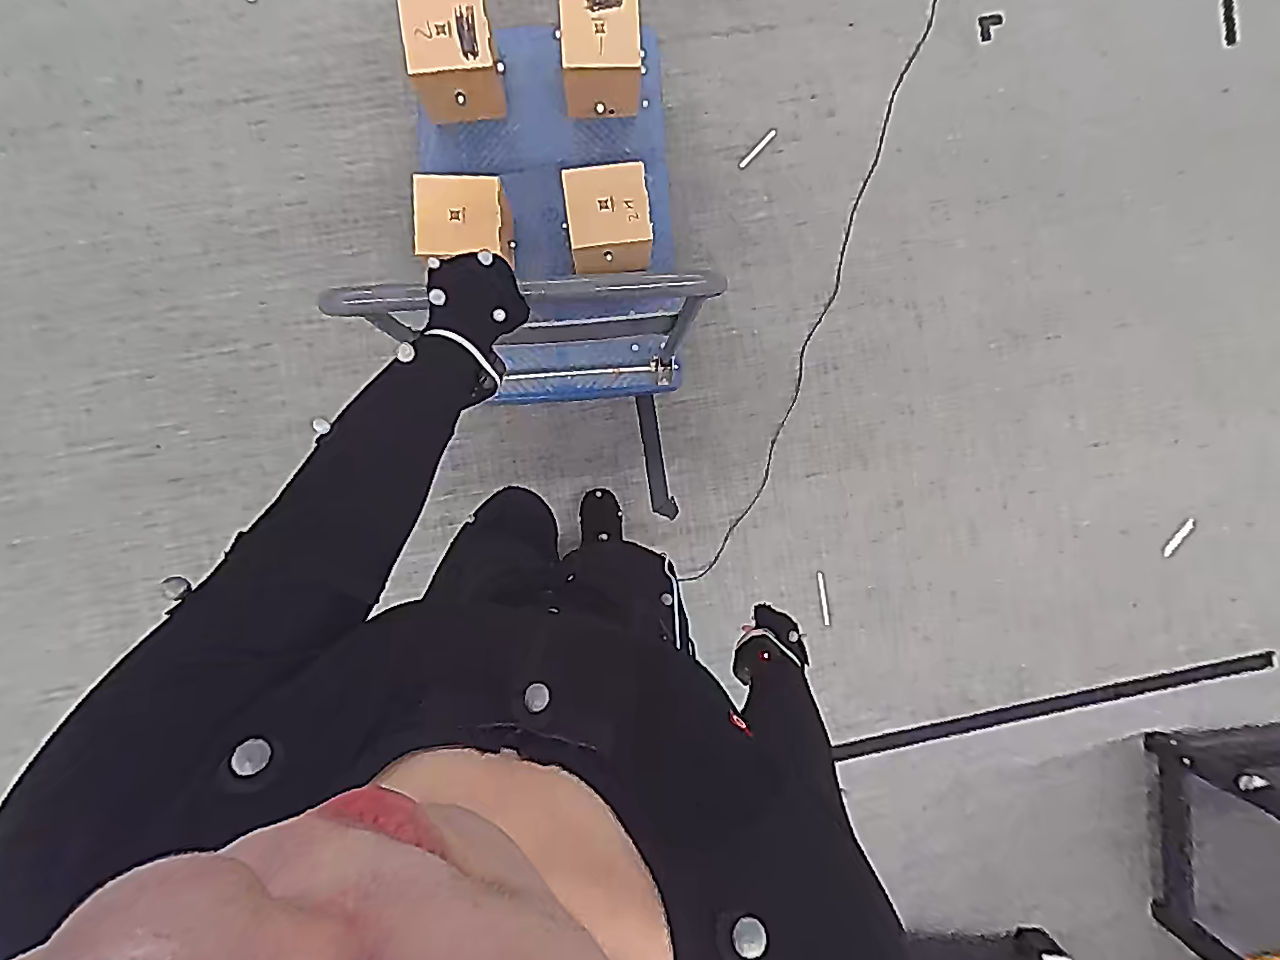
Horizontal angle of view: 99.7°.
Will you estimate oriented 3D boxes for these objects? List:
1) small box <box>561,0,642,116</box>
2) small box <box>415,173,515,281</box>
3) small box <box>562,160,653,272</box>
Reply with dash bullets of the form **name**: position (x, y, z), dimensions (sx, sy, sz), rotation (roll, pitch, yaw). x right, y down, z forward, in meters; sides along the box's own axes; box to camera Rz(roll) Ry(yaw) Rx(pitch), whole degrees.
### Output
- **small box**: position (-0.085, -0.947, 1.195), dimensions (0.168, 0.176, 0.179), rotation (-3, 93, -3)
- **small box**: position (-0.377, -0.547, 1.189), dimensions (0.179, 0.176, 0.168), rotation (-2, 91, -5)
- **small box**: position (-0.069, -0.578, 1.205), dimensions (0.179, 0.176, 0.168), rotation (-8, 92, -3)
